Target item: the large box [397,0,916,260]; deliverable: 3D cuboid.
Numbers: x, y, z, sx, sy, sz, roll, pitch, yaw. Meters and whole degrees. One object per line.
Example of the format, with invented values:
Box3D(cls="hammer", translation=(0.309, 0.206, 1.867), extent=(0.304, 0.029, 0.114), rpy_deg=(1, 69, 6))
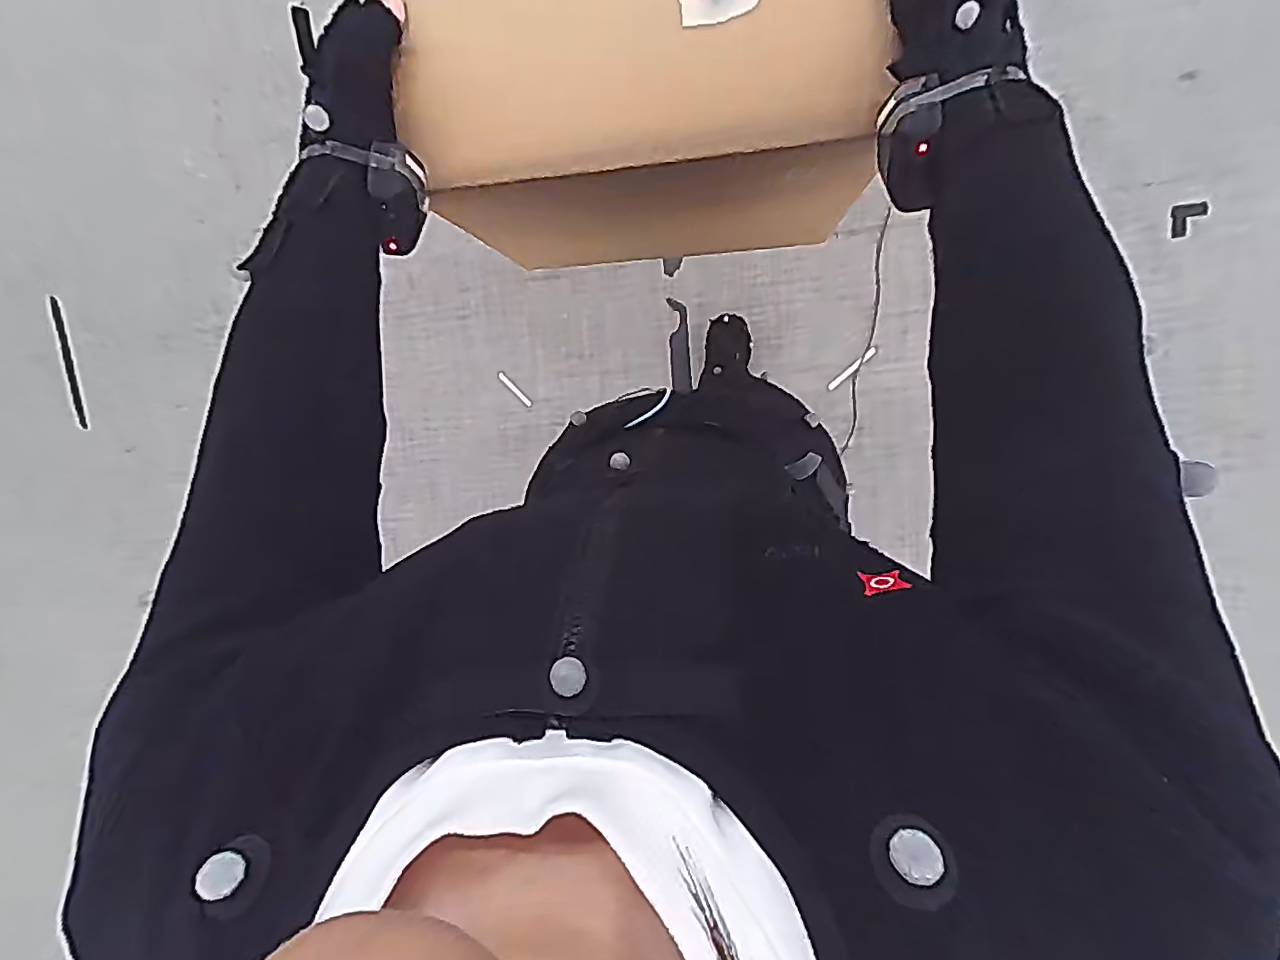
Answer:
Box3D(cls="large box", translation=(0.015, -0.439, 0.554), extent=(0.408, 0.320, 0.320), rpy_deg=(-3, 100, 7))
